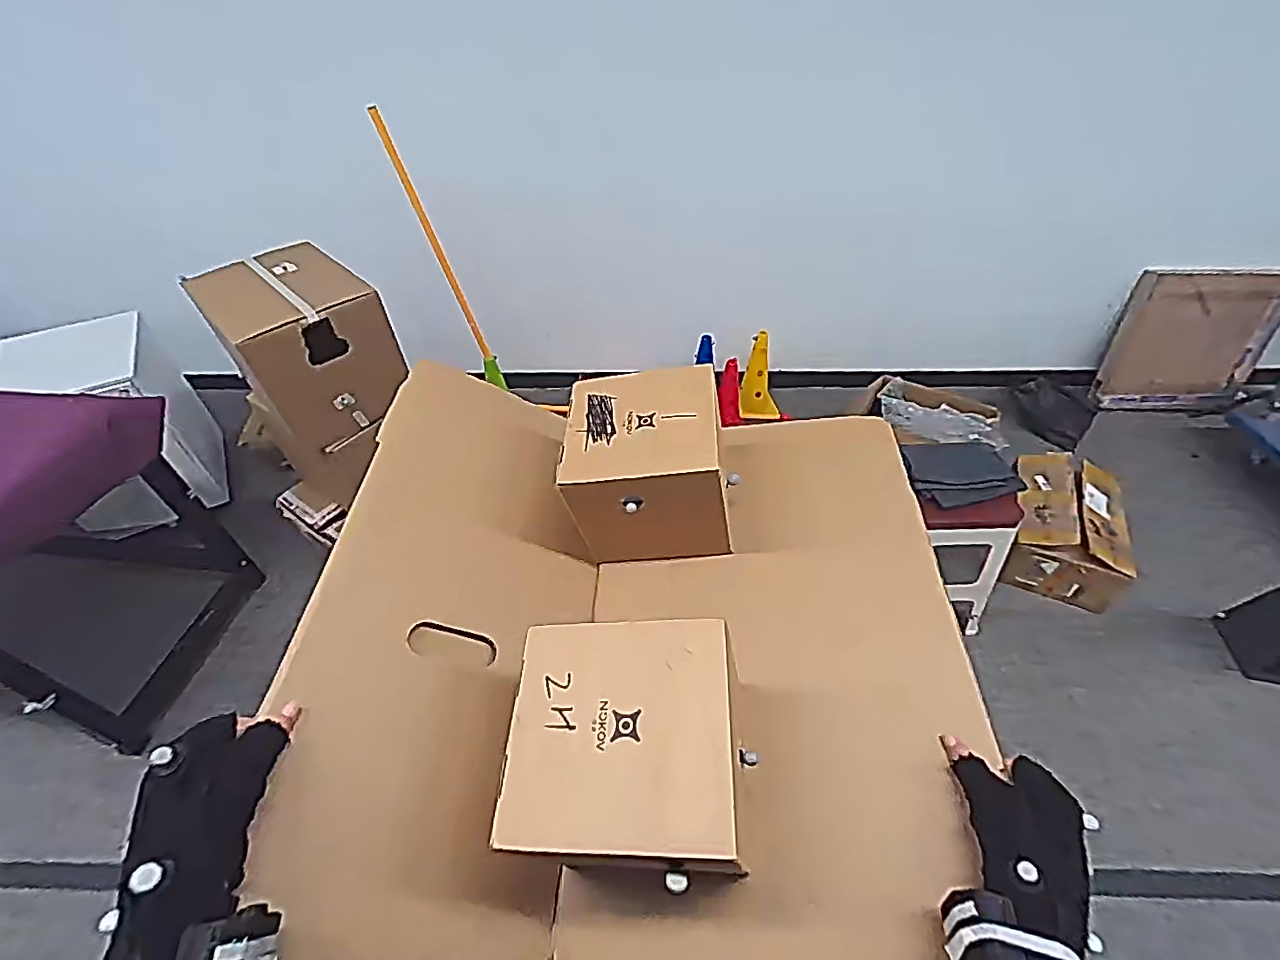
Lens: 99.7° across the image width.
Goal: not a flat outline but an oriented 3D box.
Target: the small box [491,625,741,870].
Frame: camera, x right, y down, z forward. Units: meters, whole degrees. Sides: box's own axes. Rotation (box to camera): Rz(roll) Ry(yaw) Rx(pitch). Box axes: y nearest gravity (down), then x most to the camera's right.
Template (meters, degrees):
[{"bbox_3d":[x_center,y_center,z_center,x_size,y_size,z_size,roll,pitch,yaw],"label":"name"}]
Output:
[{"bbox_3d":[-0.002,0.240,0.483,0.179,0.176,0.168,-5,51,12],"label":"small box"}]

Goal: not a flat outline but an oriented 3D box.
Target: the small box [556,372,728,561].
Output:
[{"bbox_3d":[0.013,-0.009,0.679,0.179,0.176,0.168,-5,51,11],"label":"small box"}]
